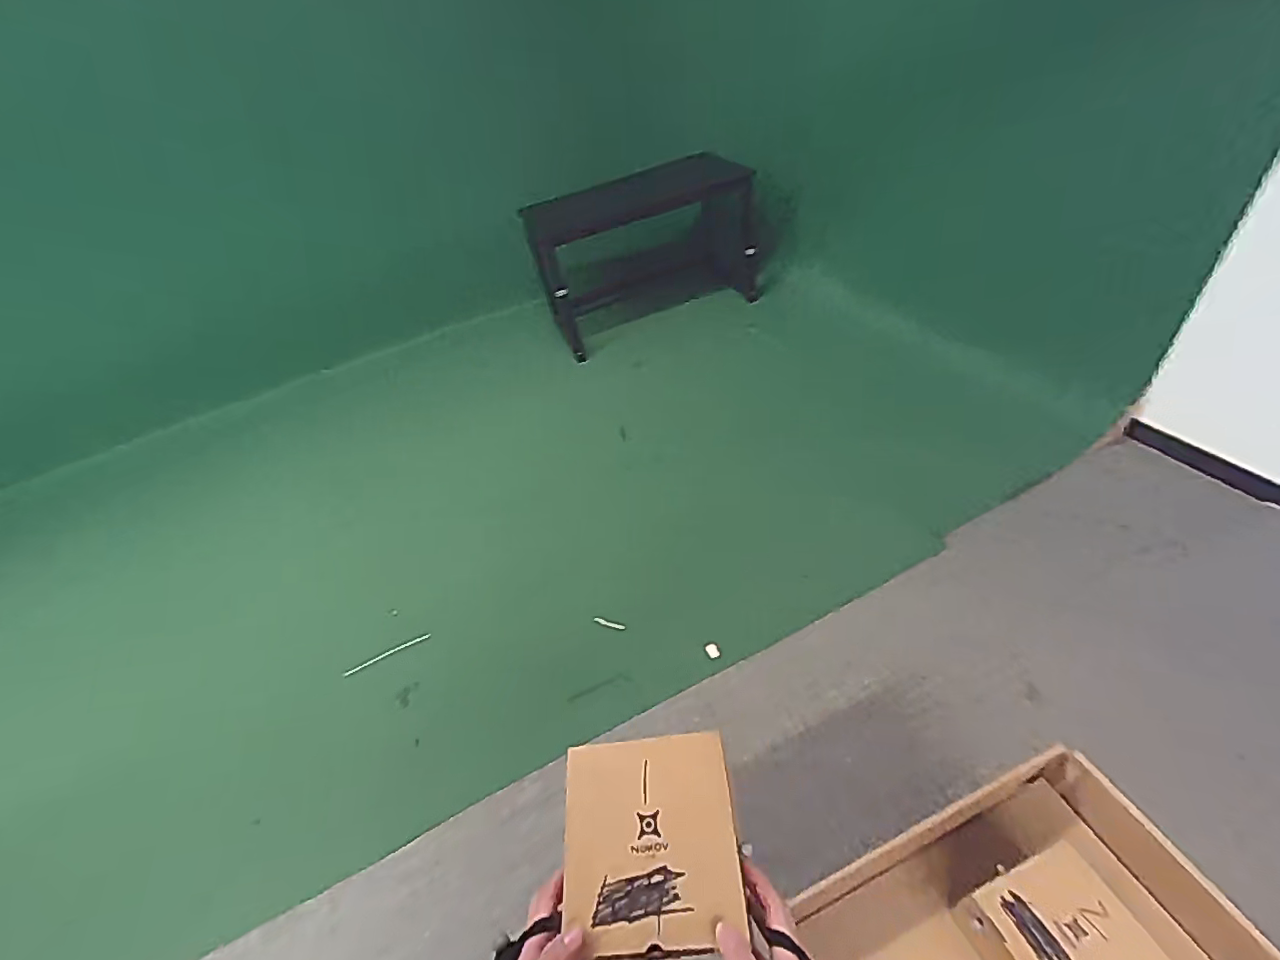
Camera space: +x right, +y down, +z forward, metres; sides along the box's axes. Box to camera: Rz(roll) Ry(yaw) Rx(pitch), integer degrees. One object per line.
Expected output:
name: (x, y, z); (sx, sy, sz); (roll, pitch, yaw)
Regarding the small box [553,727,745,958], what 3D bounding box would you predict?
small box: (0.015, 0.387, 0.574); (0.168, 0.176, 0.179); (-9, 46, 5)
